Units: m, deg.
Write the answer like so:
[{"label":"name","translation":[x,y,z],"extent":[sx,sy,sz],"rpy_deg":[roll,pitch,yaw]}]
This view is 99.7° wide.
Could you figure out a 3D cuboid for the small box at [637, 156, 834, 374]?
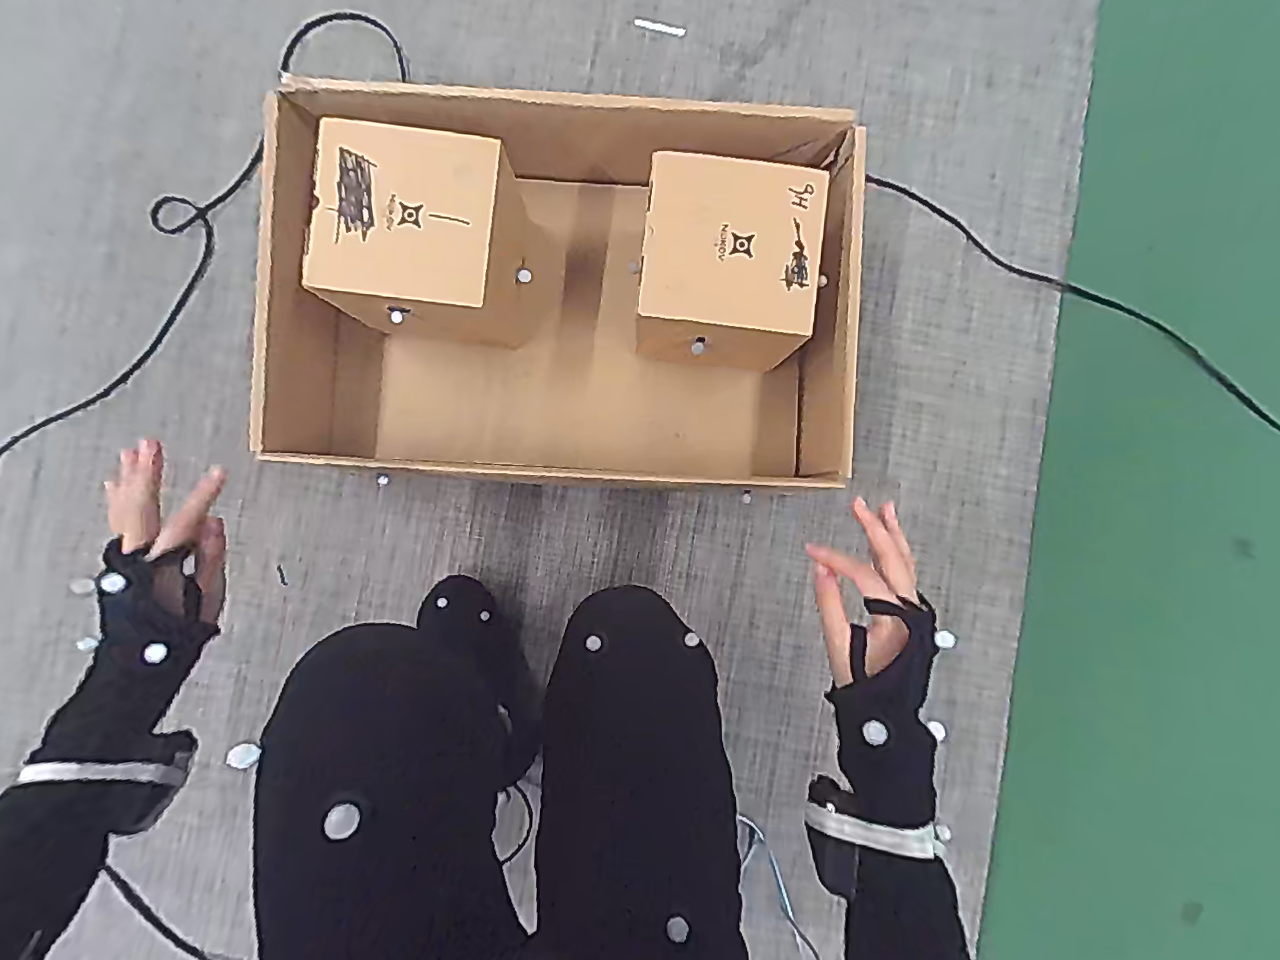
[{"label":"small box","translation":[0.093,-0.224,0.607],"extent":[0.179,0.176,0.168],"rpy_deg":[8,88,-1]}]
